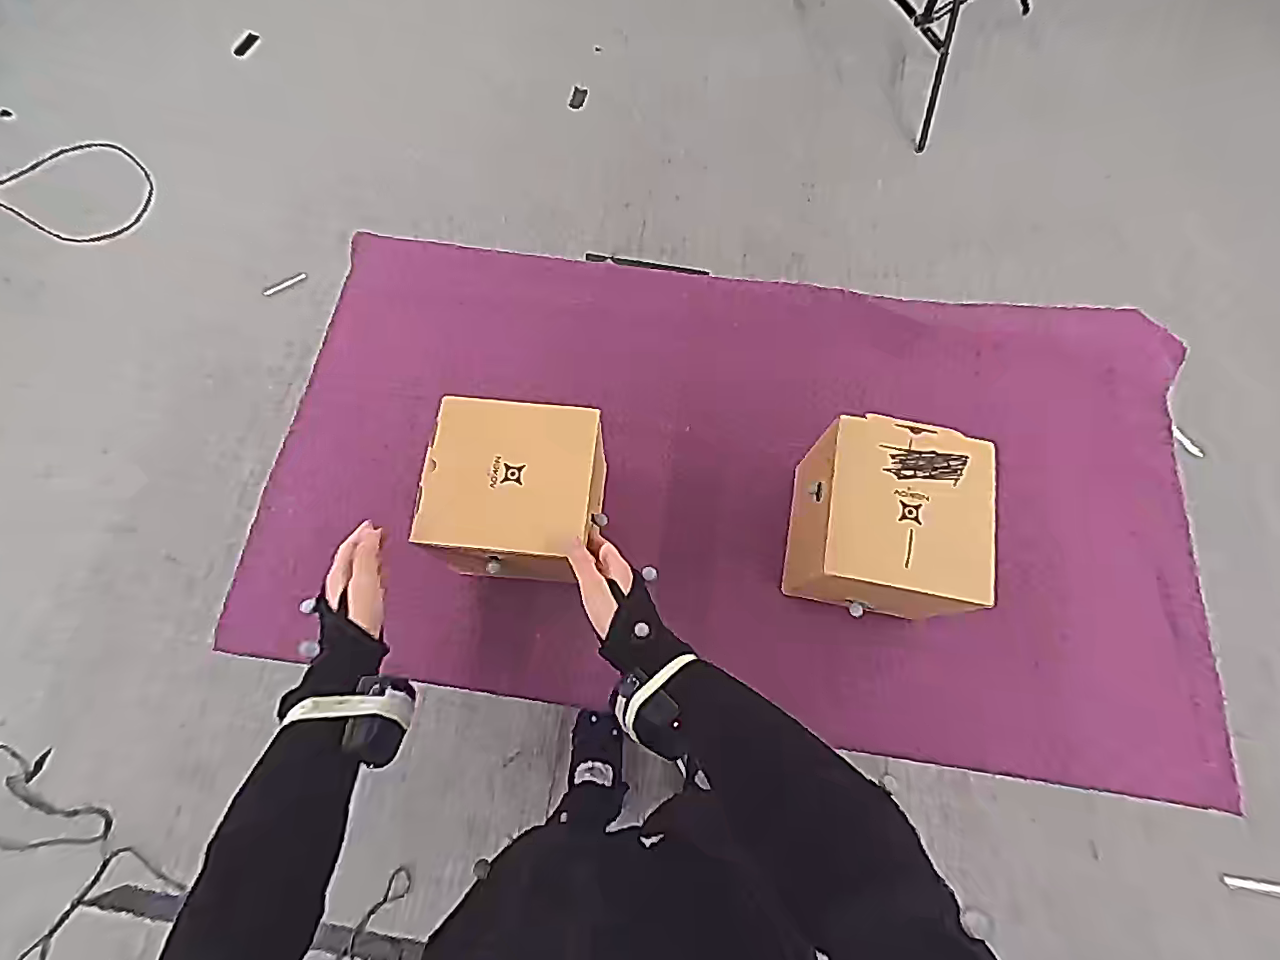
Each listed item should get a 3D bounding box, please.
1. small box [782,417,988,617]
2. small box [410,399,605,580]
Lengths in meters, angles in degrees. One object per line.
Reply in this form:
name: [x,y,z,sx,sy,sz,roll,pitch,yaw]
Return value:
small box: [0.272,0.053,0.630,0.168,0.176,0.179,11,72,4]
small box: [-0.137,0.021,0.639,0.179,0.176,0.168,5,71,2]
